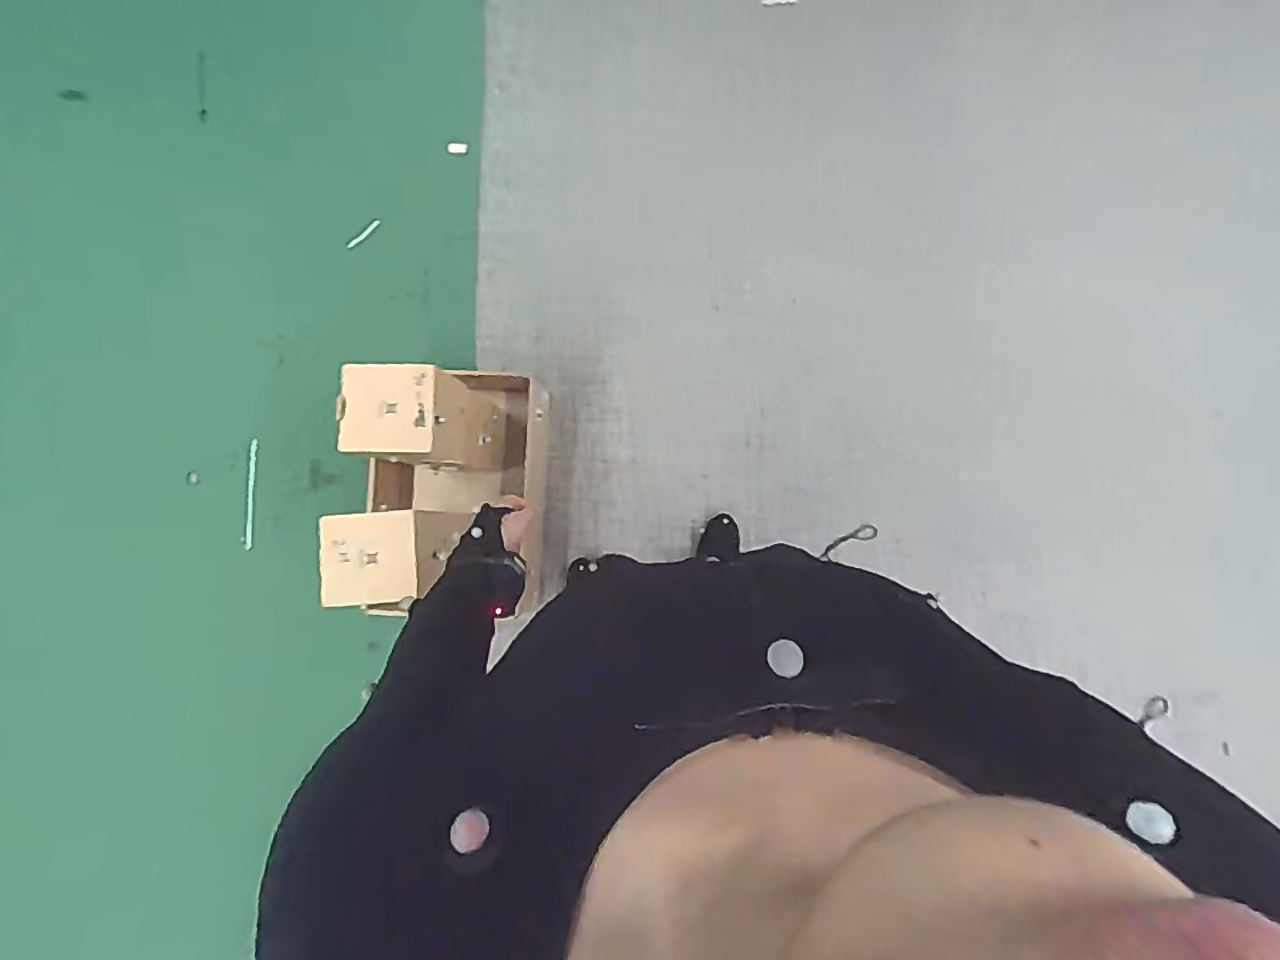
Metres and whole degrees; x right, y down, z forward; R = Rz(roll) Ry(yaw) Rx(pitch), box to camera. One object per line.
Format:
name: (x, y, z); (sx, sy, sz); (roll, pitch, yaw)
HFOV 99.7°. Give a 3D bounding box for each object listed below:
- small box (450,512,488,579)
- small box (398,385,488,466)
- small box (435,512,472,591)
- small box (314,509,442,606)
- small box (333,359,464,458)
small box: (-0.497, 0.169, 1.366); (0.179, 0.176, 0.168); (-3, 84, 1)
small box: (-0.461, -0.122, 1.224); (0.179, 0.176, 0.168); (3, 87, 0)
small box: (-0.489, 0.162, 1.202); (0.179, 0.176, 0.168); (-5, 84, -1)
small box: (-0.490, 0.144, 1.038); (0.179, 0.176, 0.168); (-4, 84, 0)
small box: (-0.465, -0.133, 1.060); (0.179, 0.176, 0.168); (1, 87, 2)
